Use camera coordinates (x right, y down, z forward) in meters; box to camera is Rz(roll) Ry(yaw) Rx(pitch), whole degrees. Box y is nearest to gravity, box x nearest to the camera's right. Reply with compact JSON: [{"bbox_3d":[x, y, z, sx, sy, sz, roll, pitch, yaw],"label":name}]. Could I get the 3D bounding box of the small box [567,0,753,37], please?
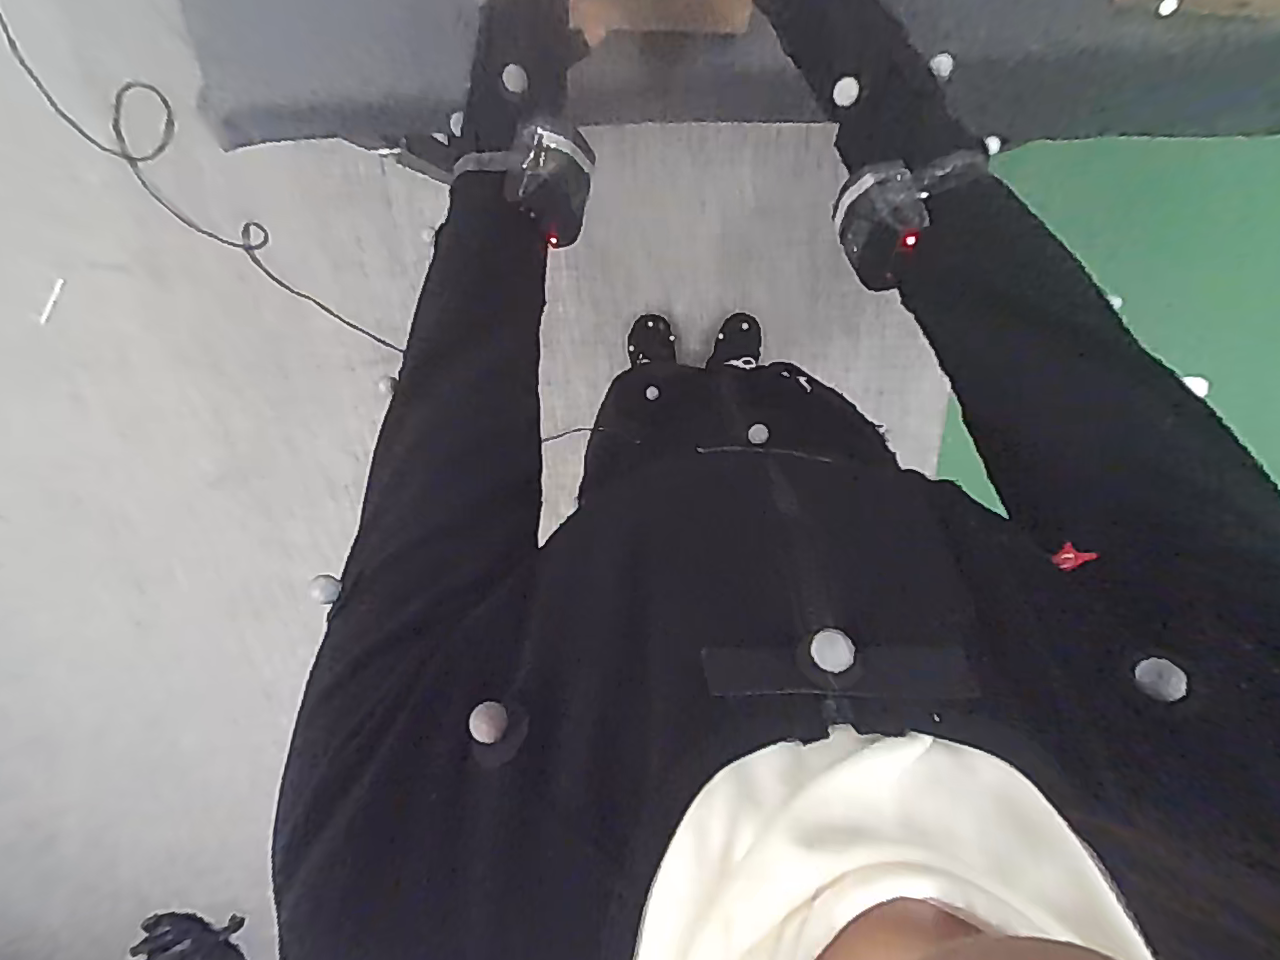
[{"bbox_3d":[0.019,-0.489,0.426,0.179,0.176,0.168,4,104,2],"label":"small box"}]
